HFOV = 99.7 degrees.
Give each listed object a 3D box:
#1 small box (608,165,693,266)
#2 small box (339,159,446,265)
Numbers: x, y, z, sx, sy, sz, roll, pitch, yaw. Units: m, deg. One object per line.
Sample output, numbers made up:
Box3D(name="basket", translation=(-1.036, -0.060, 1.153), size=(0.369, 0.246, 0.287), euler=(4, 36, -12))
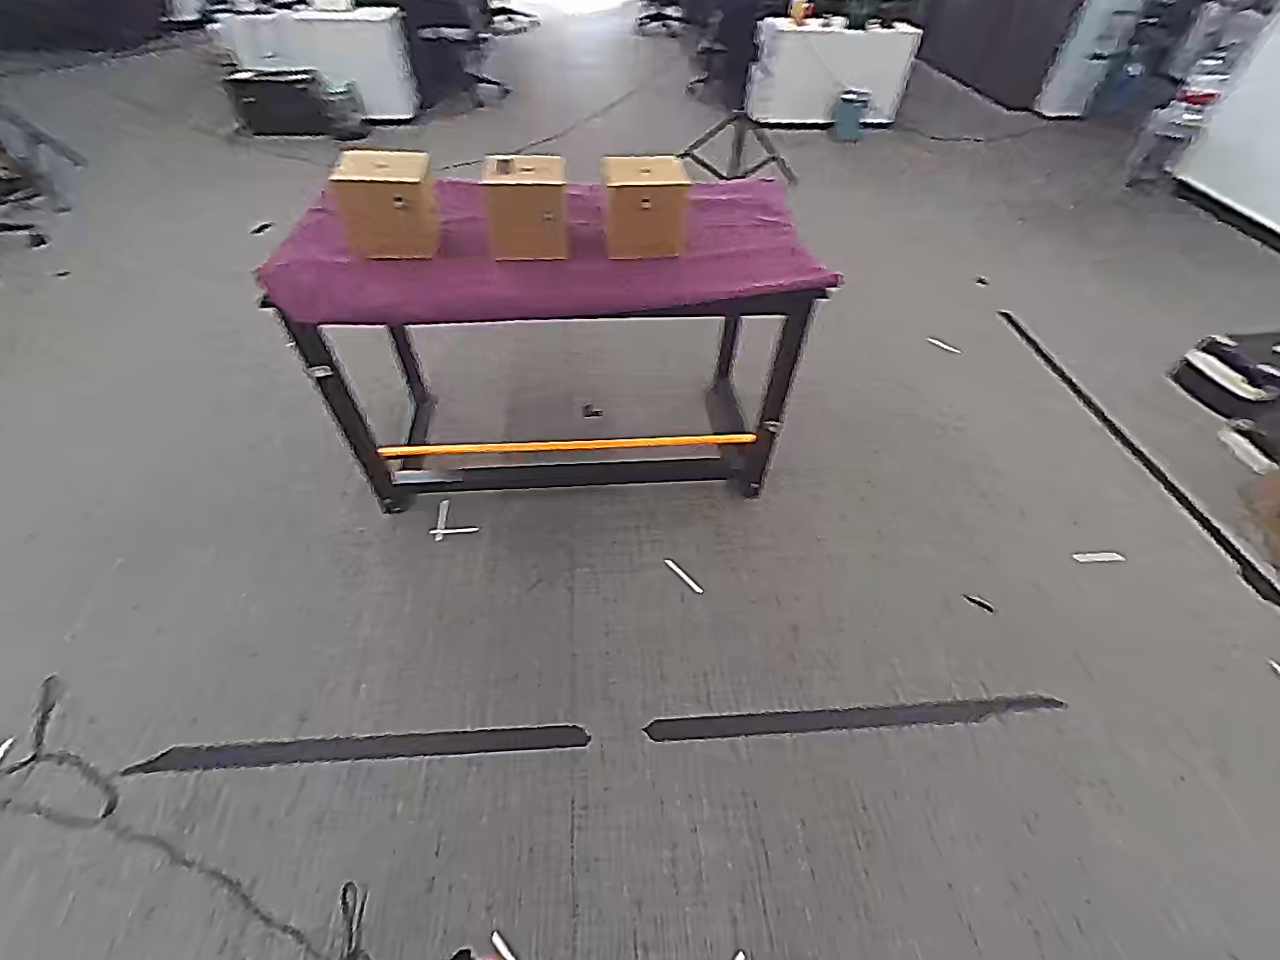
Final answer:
Box3D(name="small box", translation=(0.017, -0.622, 1.276), size=(0.179, 0.176, 0.168), euler=(-5, 49, -6))
Box3D(name="small box", translation=(-0.550, -0.606, 1.231), size=(0.179, 0.176, 0.168), euler=(-3, 48, -8))
